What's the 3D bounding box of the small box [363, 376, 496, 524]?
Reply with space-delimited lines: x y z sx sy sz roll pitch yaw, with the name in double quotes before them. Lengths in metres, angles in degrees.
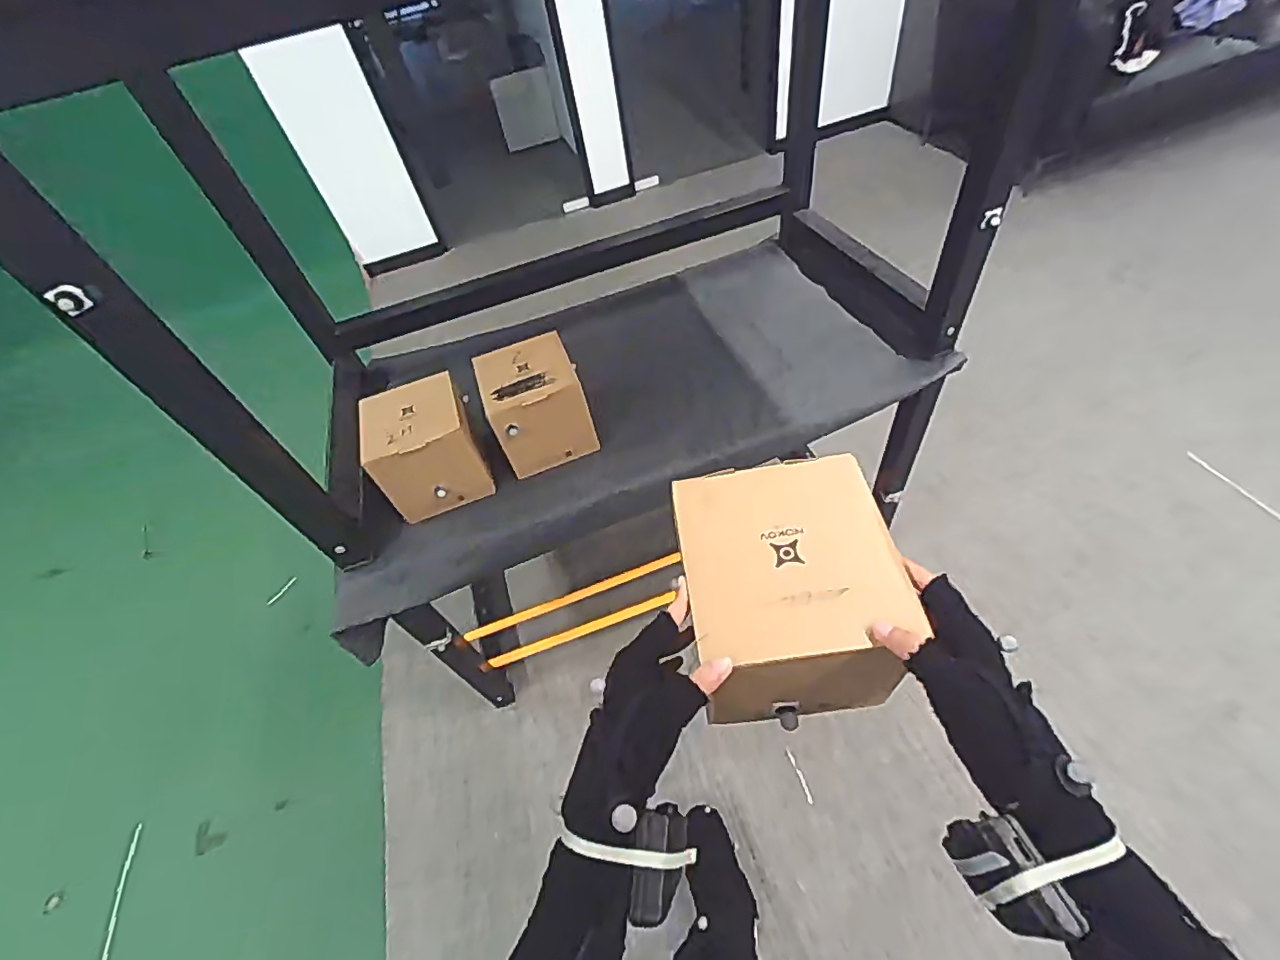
"small box" -0.377 -0.052 0.977 0.168 0.176 0.179 -21 50 -7
